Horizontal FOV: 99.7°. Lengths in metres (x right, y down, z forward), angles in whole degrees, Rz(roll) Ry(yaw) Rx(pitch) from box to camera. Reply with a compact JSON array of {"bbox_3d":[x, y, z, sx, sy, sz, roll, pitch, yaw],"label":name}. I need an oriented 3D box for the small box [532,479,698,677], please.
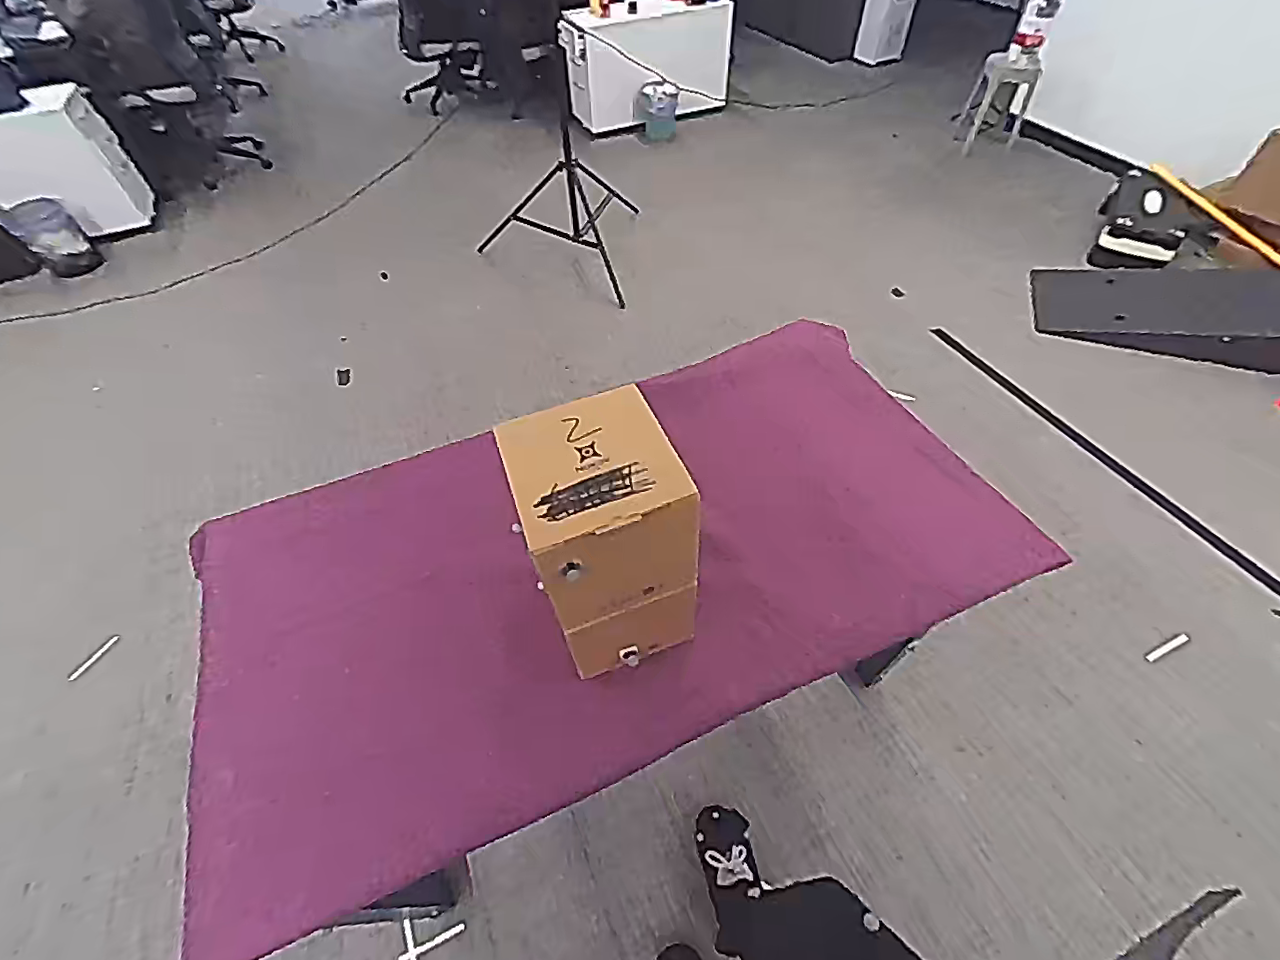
[{"bbox_3d":[-0.034,0.134,0.730,0.168,0.176,0.179,-19,54,-11],"label":"small box"}]
